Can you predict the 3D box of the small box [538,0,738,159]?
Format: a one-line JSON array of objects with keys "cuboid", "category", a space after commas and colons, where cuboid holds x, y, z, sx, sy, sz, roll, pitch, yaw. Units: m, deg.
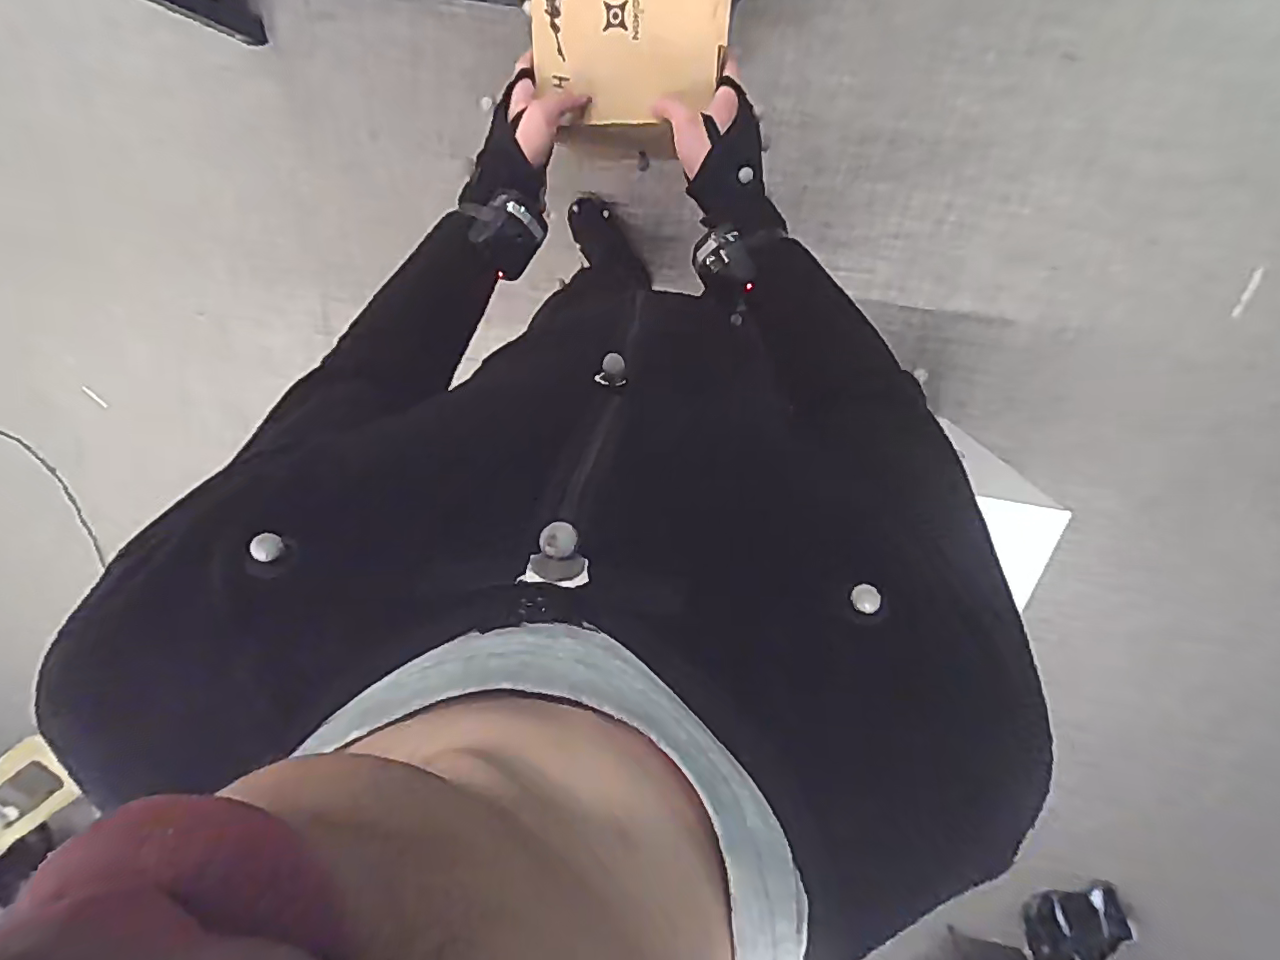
[{"cuboid": [0.005, -0.435, 0.545, 0.179, 0.176, 0.168, 4, 111, 6], "category": "small box"}]
